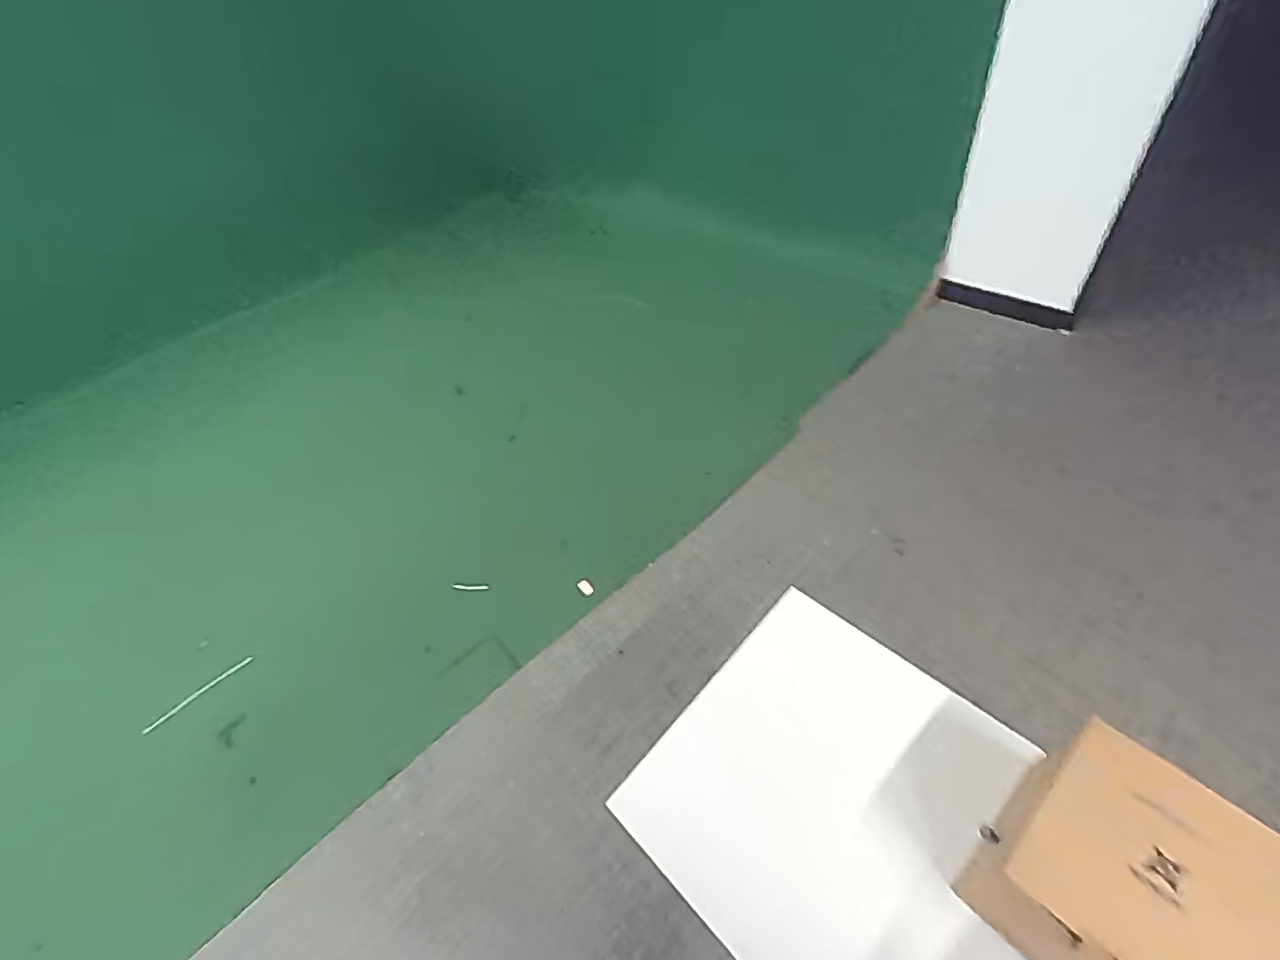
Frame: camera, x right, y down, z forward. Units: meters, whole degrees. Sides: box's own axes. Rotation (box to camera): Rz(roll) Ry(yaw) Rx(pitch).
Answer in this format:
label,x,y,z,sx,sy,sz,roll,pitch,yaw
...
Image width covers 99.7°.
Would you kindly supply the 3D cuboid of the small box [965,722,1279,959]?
label,x,y,z,sx,sy,sz,roll,pitch,yaw
small box,0.422,0.364,0.482,0.179,0.176,0.168,-39,52,-21
